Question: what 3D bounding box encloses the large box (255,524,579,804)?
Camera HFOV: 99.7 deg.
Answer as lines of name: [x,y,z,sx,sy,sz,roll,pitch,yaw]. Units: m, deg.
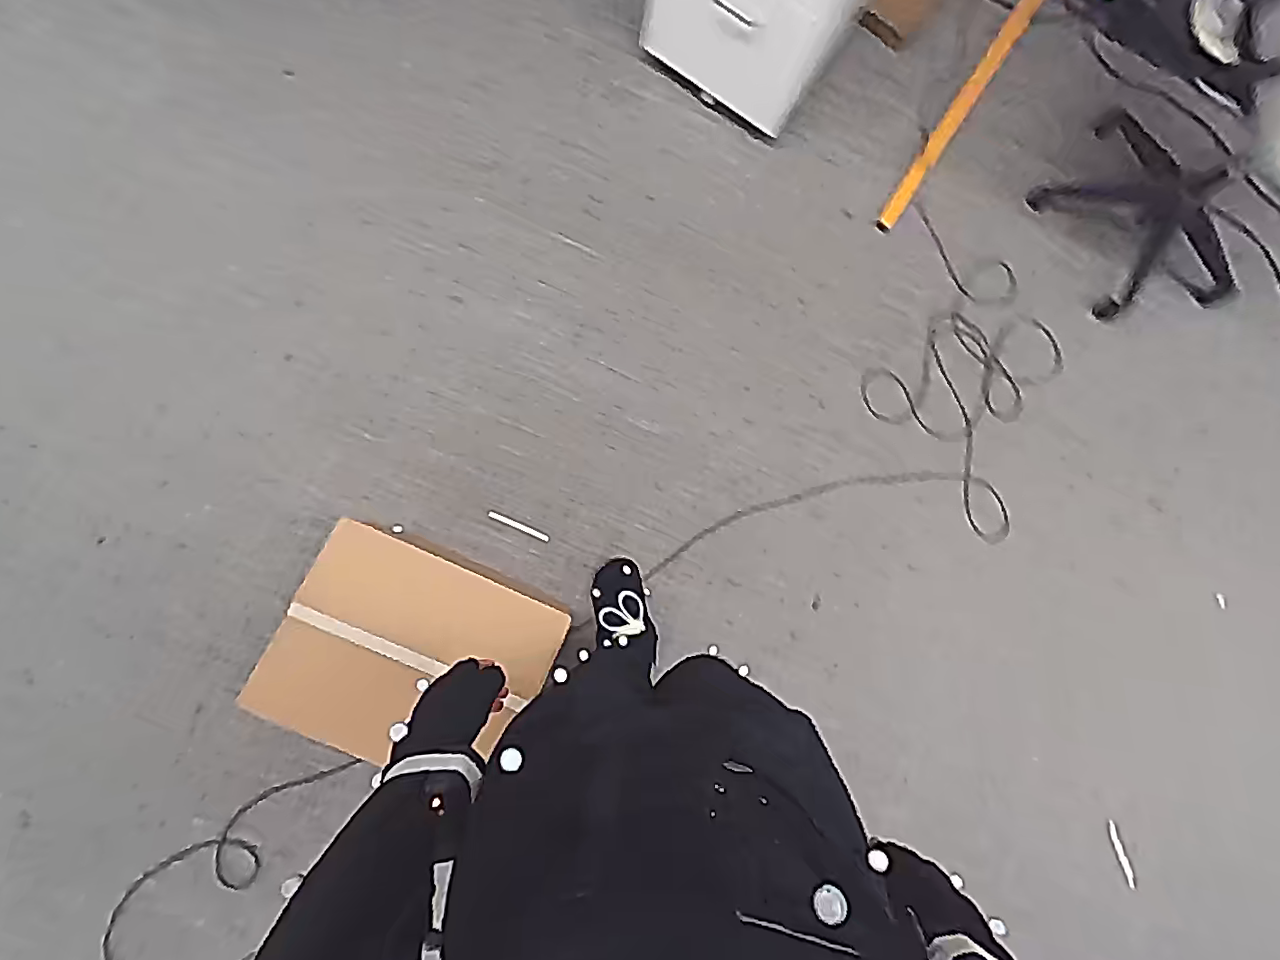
large box: [-0.361,0.308,0.992,0.408,0.320,0.320,25,79,-3]
